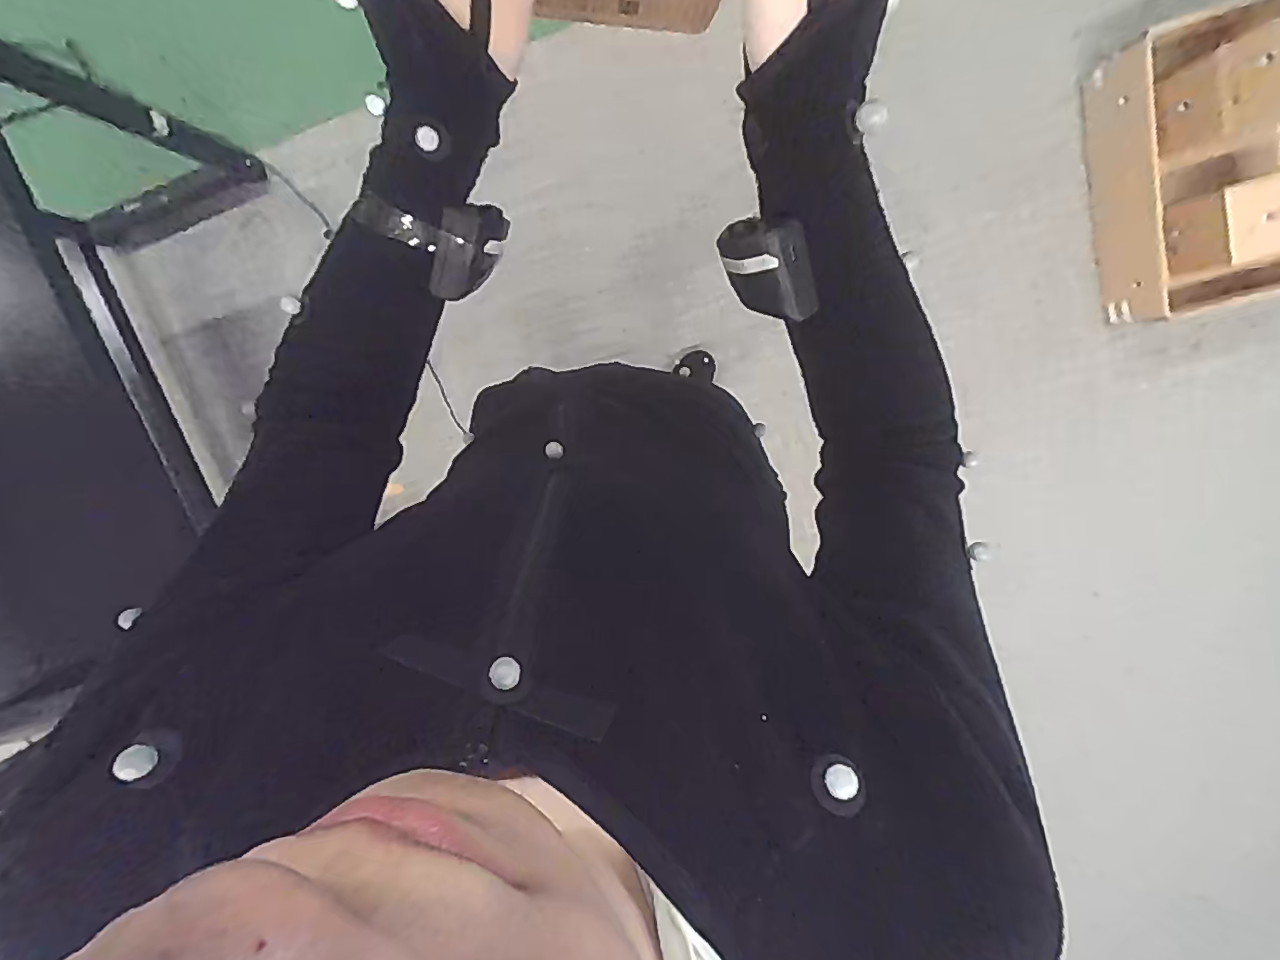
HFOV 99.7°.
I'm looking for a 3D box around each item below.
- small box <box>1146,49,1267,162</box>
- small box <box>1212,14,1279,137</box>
[{"bbox_3d":[1.280,-0.840,1.202,0.179,0.176,0.168,-15,101,7],"label":"small box"},{"bbox_3d":[1.268,-0.802,1.044,0.179,0.176,0.168,-15,100,7],"label":"small box"}]
